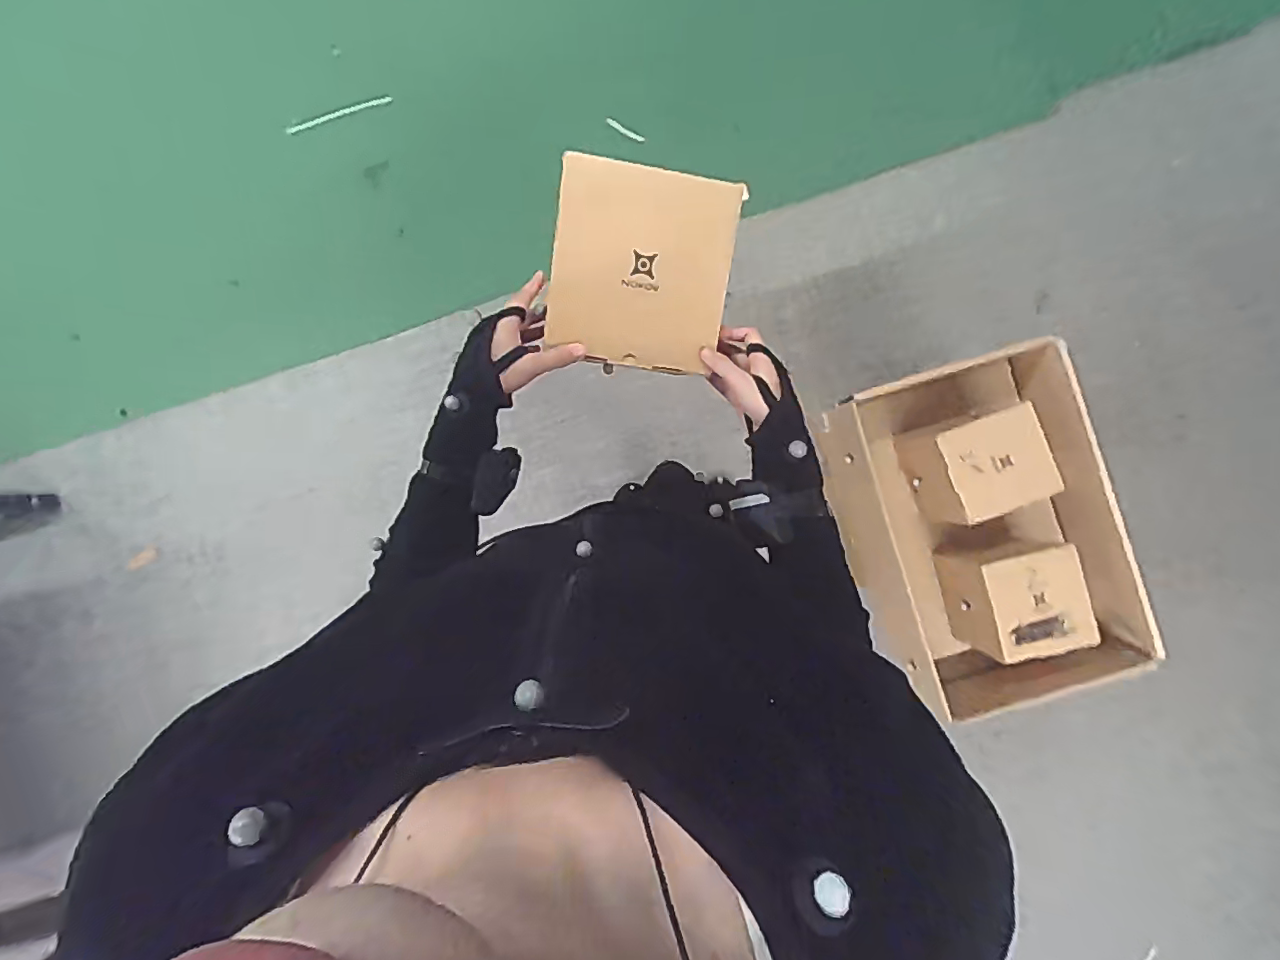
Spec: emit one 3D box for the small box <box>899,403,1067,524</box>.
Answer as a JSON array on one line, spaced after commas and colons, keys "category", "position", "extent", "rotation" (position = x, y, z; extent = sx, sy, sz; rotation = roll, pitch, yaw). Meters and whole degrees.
[{"category": "small box", "position": [0.619, -0.028, 0.996], "extent": [0.179, 0.176, 0.168], "rotation": [-20, 89, 2]}]
